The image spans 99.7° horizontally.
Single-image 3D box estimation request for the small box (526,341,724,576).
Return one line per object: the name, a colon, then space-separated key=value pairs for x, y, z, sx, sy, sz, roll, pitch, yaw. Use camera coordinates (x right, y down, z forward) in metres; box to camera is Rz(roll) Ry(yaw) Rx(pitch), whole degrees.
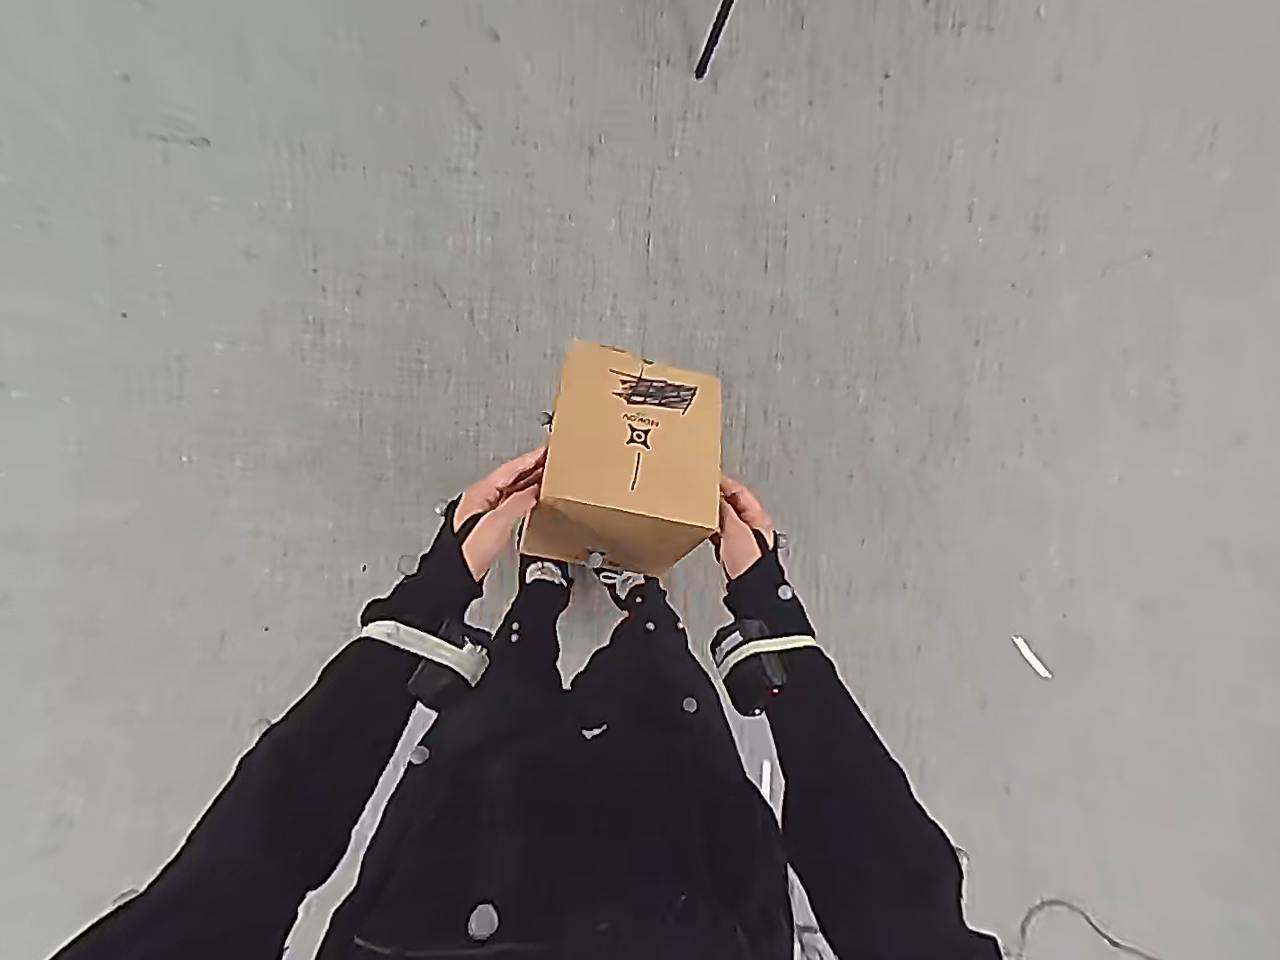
small box: x=-0.022 y=-0.011 z=0.577 sx=0.168 sy=0.176 sz=0.179 roll=11 pitch=64 yaw=-14
